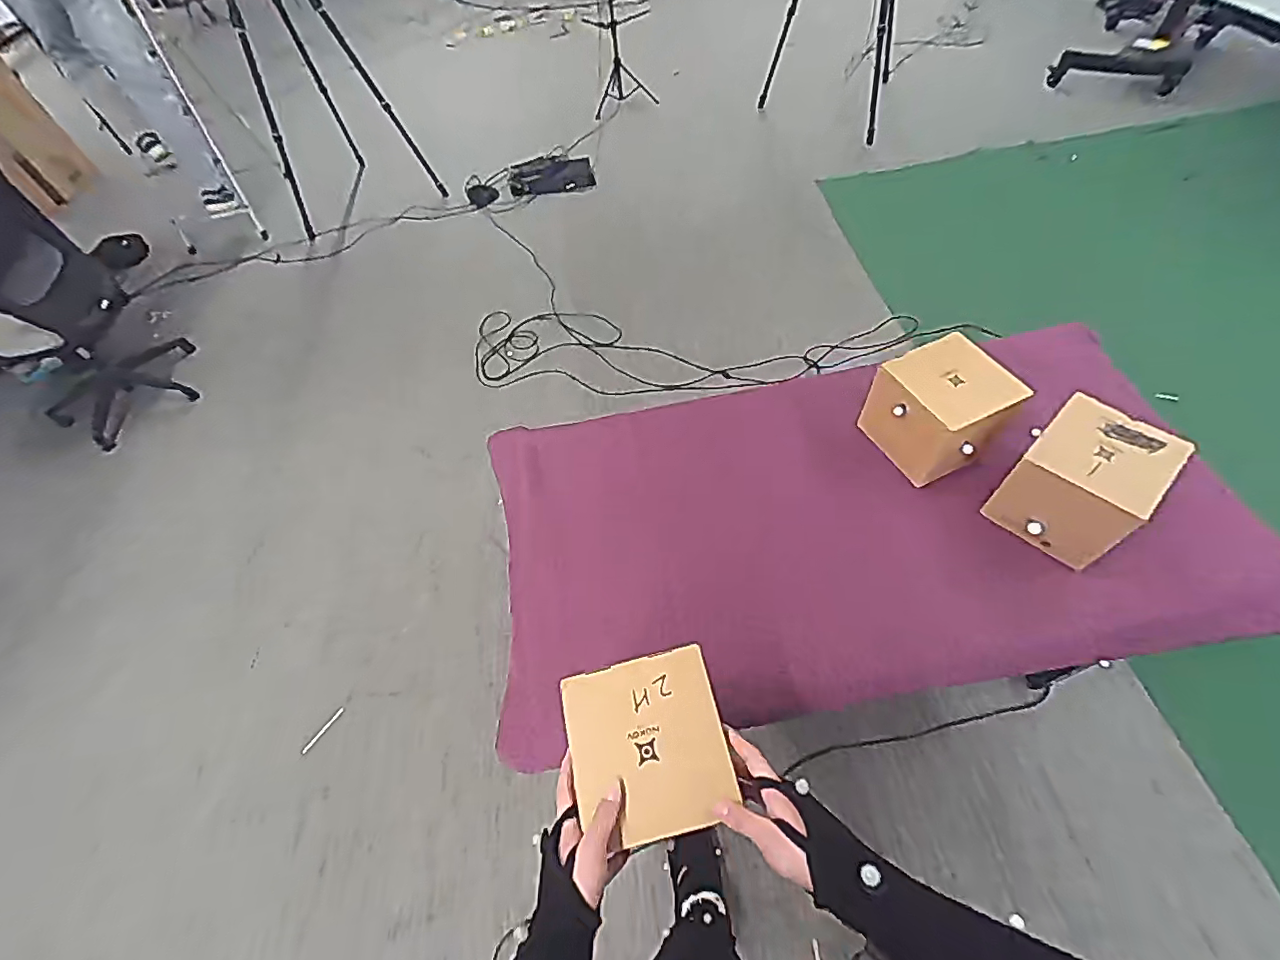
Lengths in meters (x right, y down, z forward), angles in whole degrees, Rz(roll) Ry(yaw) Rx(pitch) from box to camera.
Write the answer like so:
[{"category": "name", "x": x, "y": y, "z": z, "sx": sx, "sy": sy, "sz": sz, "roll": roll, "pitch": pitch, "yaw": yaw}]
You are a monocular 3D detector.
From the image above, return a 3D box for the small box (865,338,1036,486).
[{"category": "small box", "x": 0.534, "y": -0.112, "z": 0.960, "sx": 0.168, "sy": 0.176, "sz": 0.179, "roll": -23, "pitch": 56, "yaw": -9}]

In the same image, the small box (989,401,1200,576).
[{"category": "small box", "x": 0.695, "y": 0.016, "z": 0.850, "sx": 0.179, "sy": 0.176, "sz": 0.168, "roll": -40, "pitch": 60, "yaw": -18}]
